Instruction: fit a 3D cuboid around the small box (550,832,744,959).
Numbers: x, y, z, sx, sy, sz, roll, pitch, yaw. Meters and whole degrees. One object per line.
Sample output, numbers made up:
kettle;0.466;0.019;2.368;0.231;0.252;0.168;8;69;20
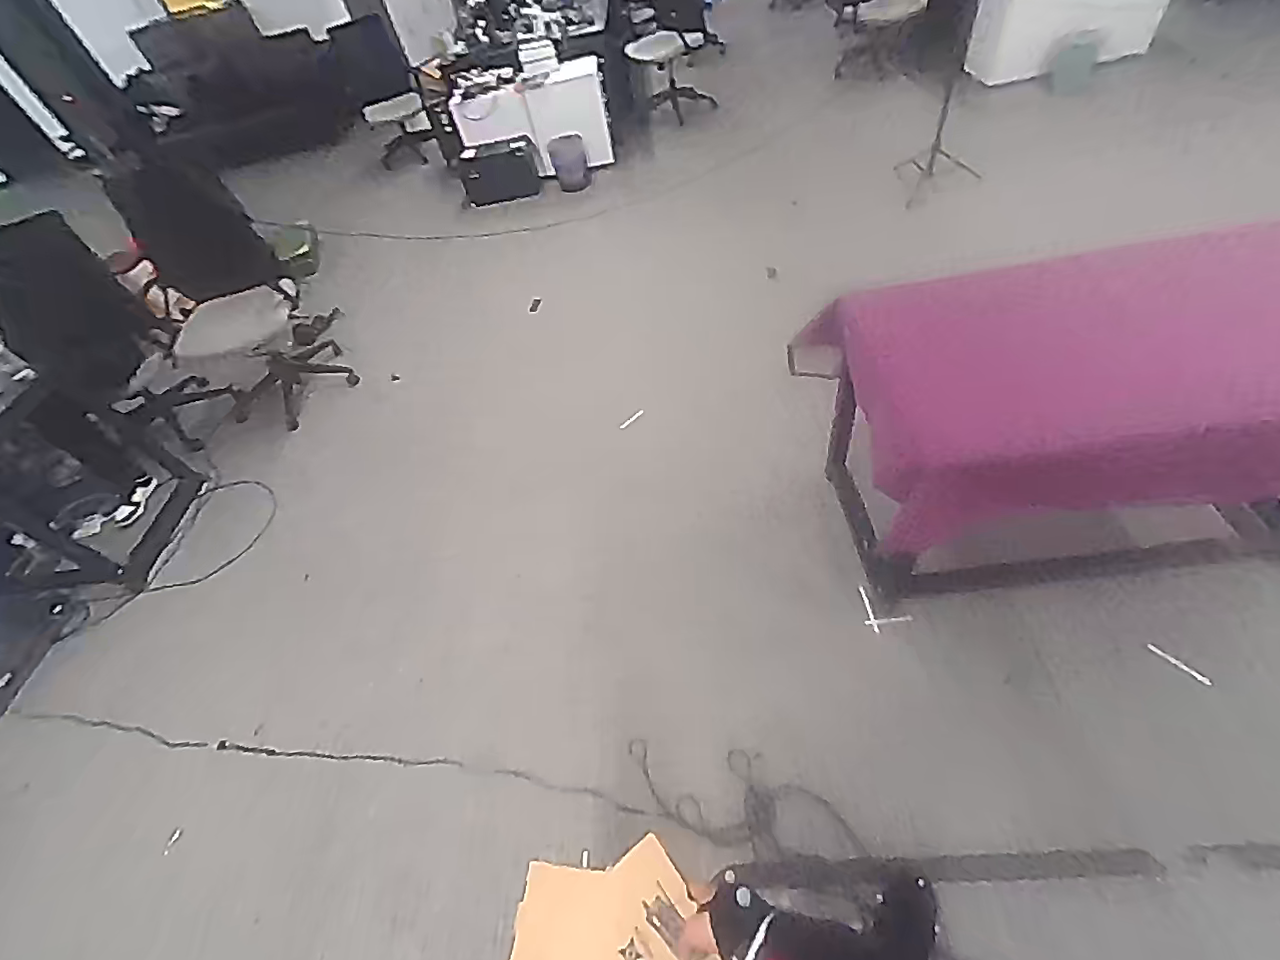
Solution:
small box;0.016;0.597;0.691;0.179;0.176;0.168;-34;51;-16

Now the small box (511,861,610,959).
small box;-0.105;0.797;0.962;0.179;0.176;0.168;-1;52;13
